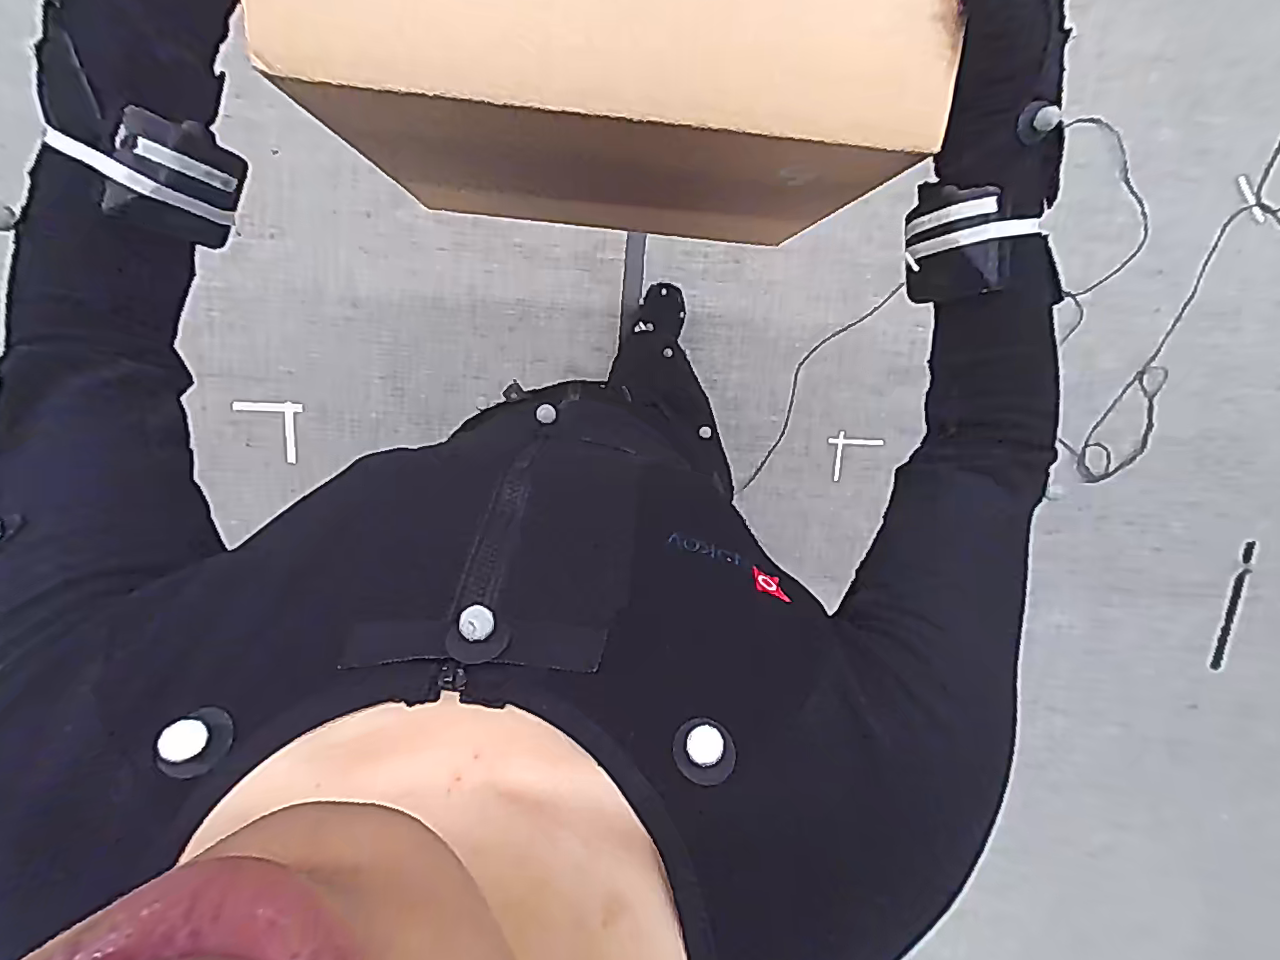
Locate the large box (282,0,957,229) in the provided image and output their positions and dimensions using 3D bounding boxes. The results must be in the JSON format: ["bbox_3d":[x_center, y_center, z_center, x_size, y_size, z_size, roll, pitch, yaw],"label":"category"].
[{"bbox_3d":[-0.011,-0.413,0.438,0.408,0.320,0.320,3,104,-6],"label":"large box"}]

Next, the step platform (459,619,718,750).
[{"bbox_3d":[-0.131,0.553,1.465,0.684,0.204,0.286,1,99,-1],"label":"step platform"}]
